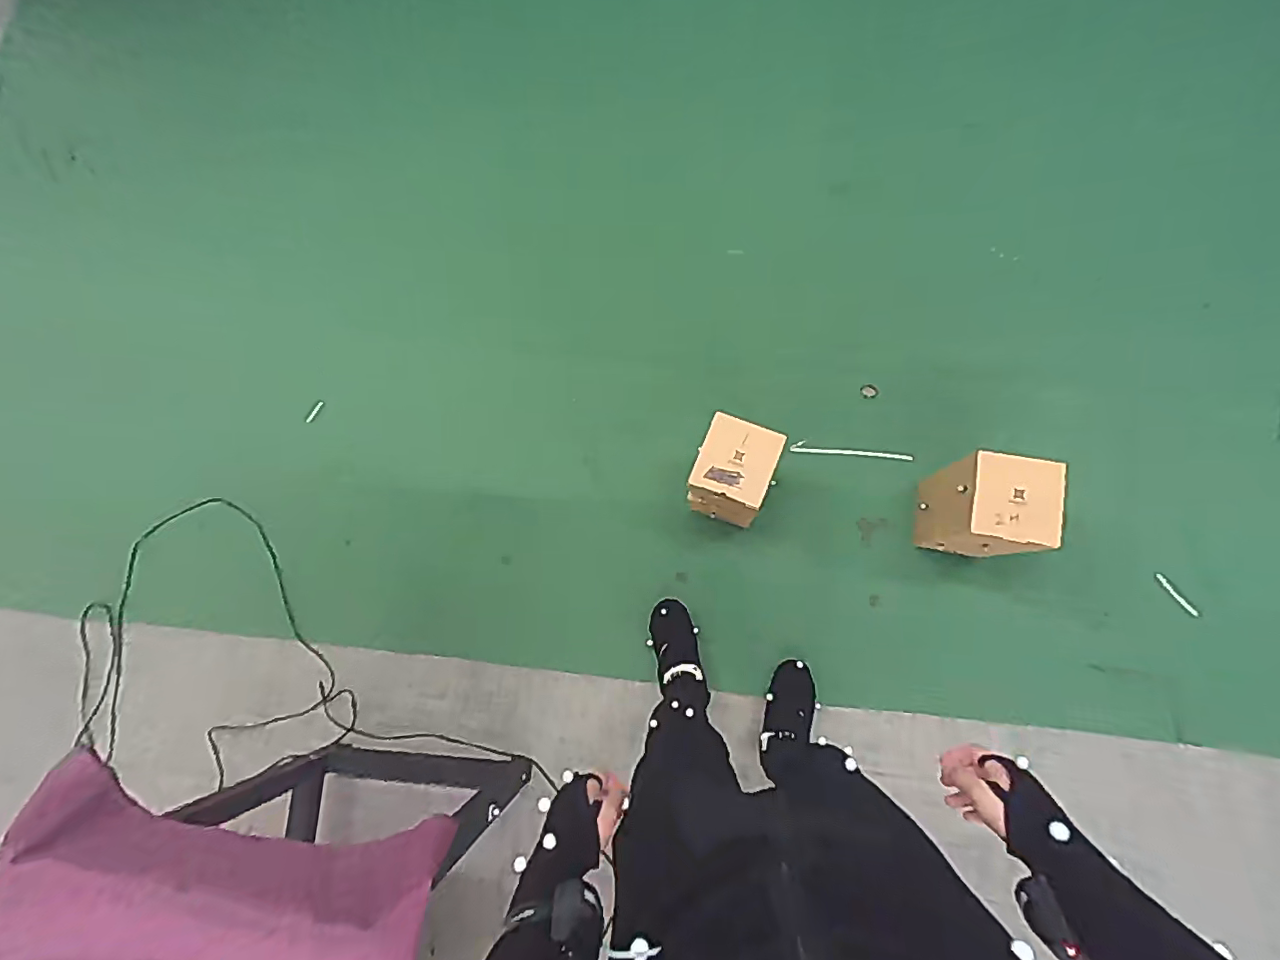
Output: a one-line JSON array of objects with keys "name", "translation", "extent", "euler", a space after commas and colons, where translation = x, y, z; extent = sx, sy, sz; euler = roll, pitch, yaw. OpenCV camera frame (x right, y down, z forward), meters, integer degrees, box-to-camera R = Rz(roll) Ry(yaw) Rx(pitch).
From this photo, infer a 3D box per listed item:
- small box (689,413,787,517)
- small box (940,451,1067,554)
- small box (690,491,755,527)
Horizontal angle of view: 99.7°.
[{"name": "small box", "translation": [0.223, -0.026, 1.245], "extent": [0.168, 0.176, 0.179], "euler": [21, 82, 11]}, {"name": "small box", "translation": [0.766, 0.054, 1.154], "extent": [0.168, 0.176, 0.179], "euler": [10, 81, 9]}, {"name": "small box", "translation": [0.235, 0.011, 1.405], "extent": [0.168, 0.176, 0.179], "euler": [19, 83, 11]}]
